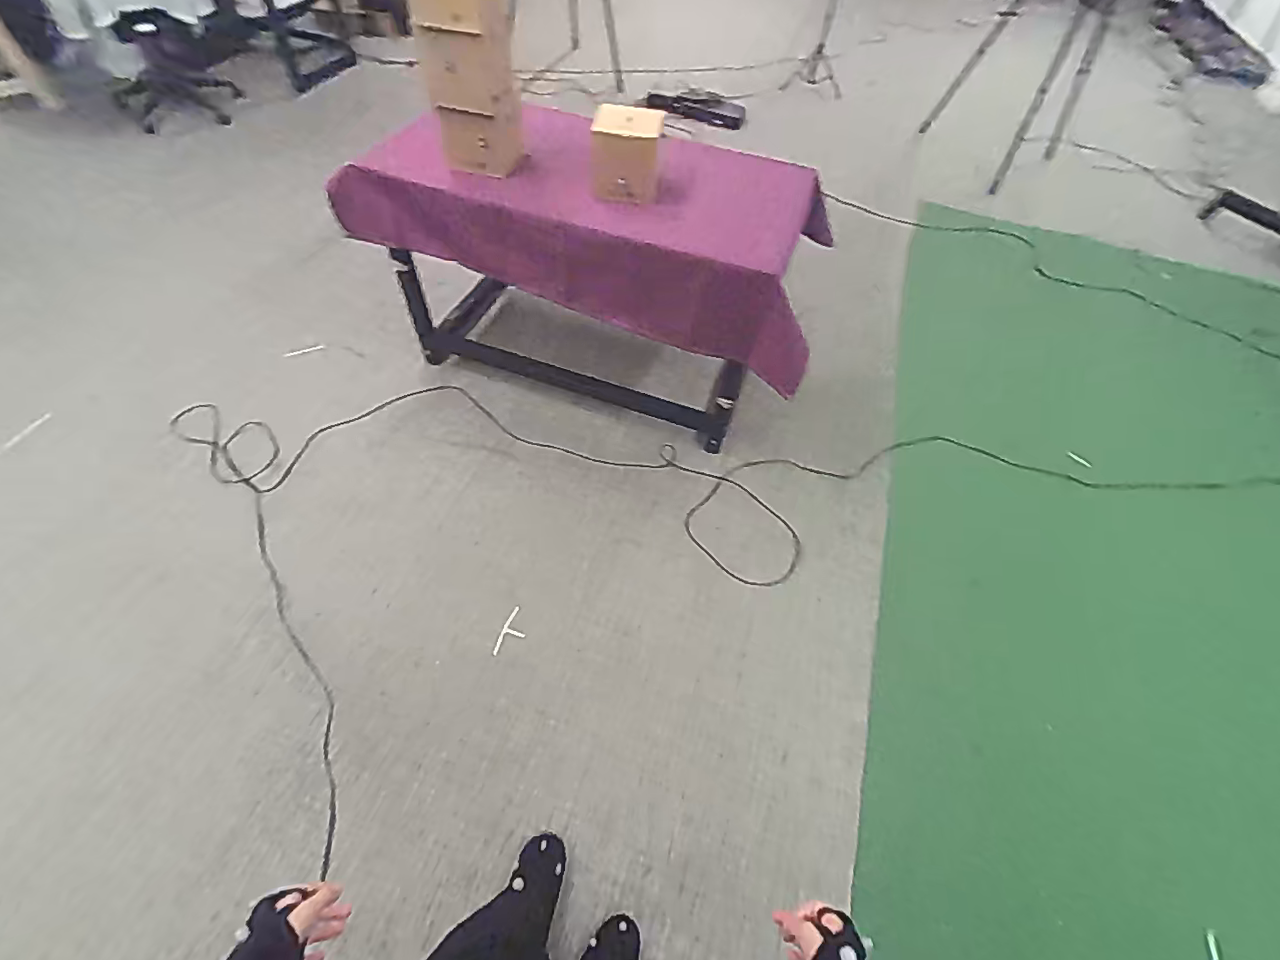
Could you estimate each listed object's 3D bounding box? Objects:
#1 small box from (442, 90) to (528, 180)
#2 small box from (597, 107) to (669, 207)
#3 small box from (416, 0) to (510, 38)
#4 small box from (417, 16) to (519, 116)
[{"bbox_3d":[-0.414,-0.954,1.482,0.168,0.176,0.179,14,54,4],"label":"small box"},{"bbox_3d":[-0.021,-0.861,1.445,0.168,0.176,0.179,8,54,2],"label":"small box"},{"bbox_3d":[-0.396,-1.113,1.196,0.168,0.176,0.179,10,54,1],"label":"small box"},{"bbox_3d":[-0.412,-1.030,1.335,0.179,0.176,0.168,13,55,4],"label":"small box"}]
